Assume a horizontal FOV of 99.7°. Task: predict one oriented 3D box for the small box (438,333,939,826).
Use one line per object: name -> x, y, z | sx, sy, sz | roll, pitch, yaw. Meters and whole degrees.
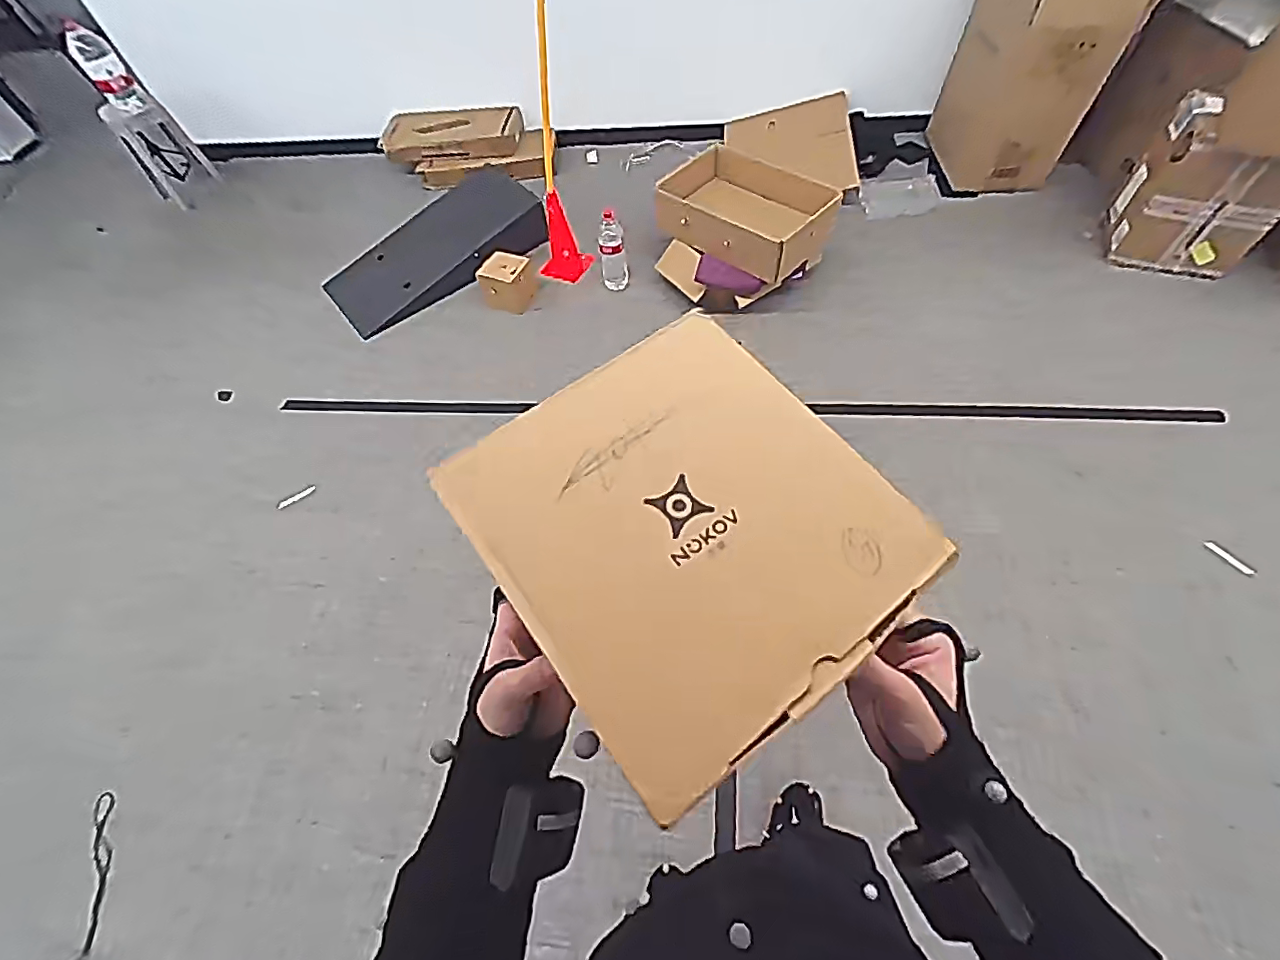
small box -> 0.020, 0.058, 0.320 | 0.168, 0.176, 0.179 | -36, 68, -16
